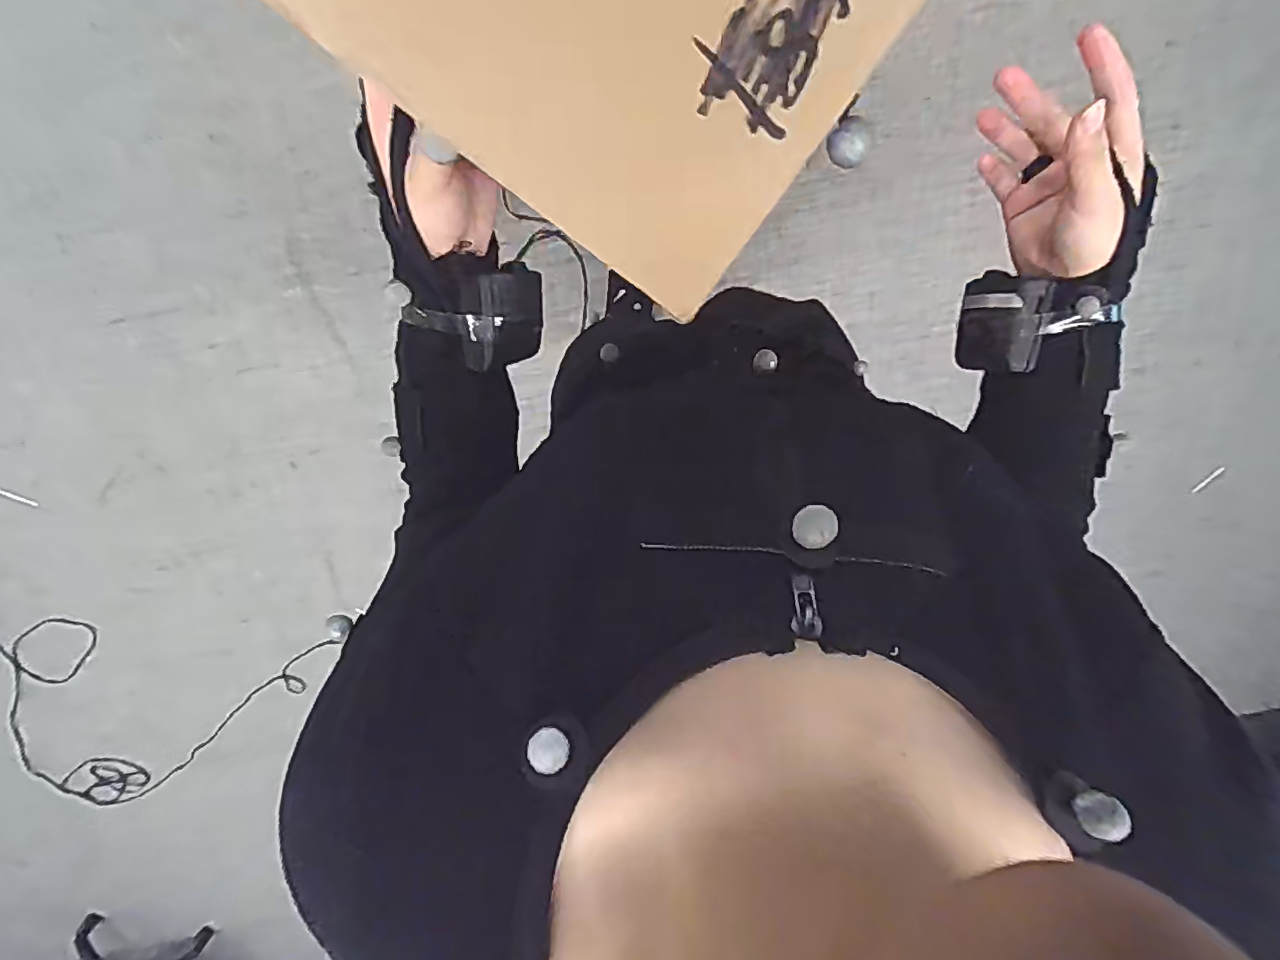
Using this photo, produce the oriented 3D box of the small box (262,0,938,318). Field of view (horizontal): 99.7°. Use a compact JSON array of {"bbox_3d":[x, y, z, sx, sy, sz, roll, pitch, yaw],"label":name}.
[{"bbox_3d":[-0.003,-0.182,0.191,0.179,0.176,0.168,34,111,-11],"label":"small box"}]
